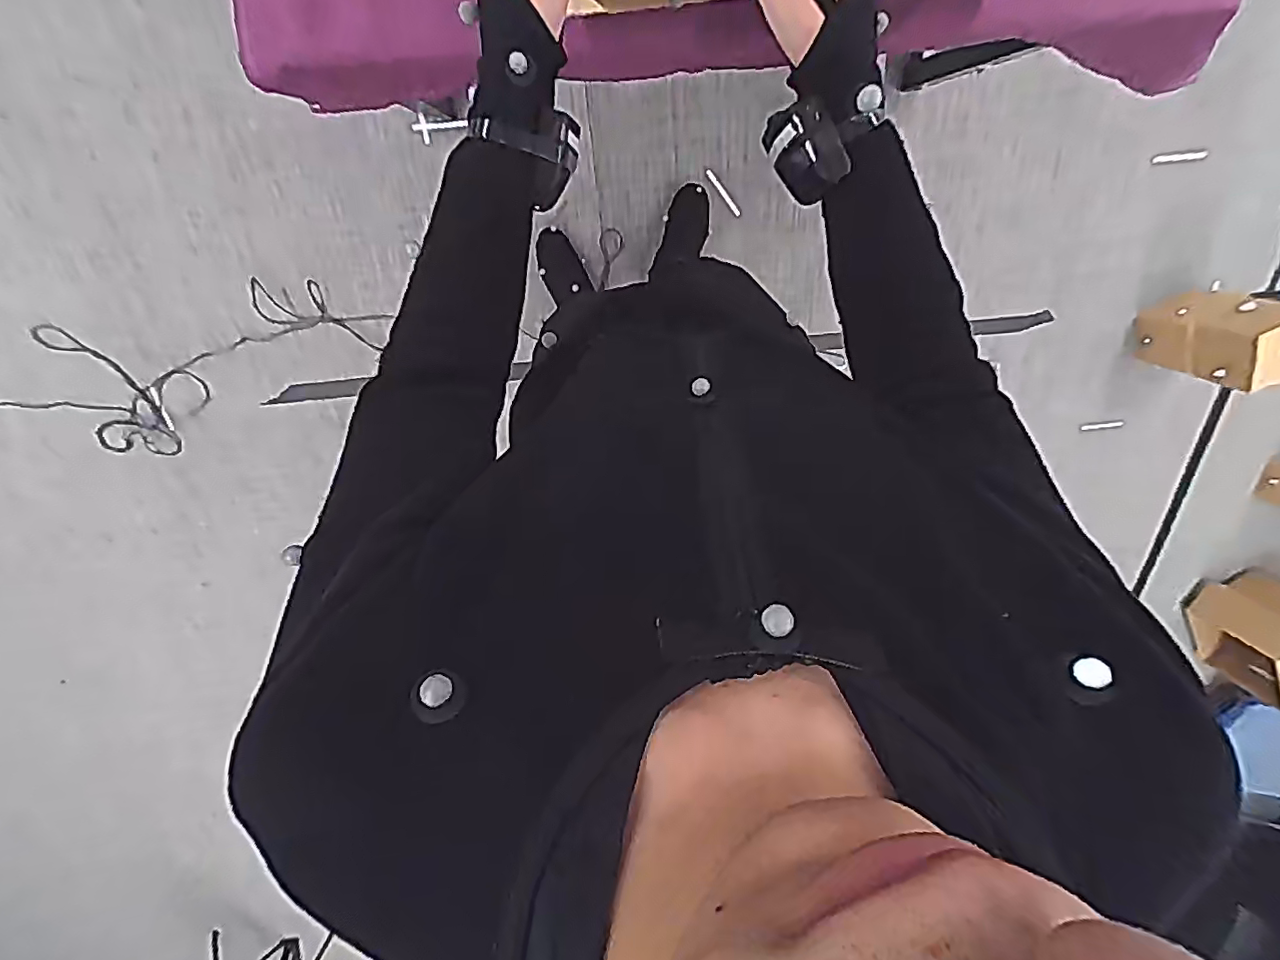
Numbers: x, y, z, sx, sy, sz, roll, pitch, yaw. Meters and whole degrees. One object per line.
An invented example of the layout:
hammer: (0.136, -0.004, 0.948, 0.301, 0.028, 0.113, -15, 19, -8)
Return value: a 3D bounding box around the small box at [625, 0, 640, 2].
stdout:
small box: (0.025, -0.510, 0.428, 0.168, 0.176, 0.179, 2, 121, 11)
